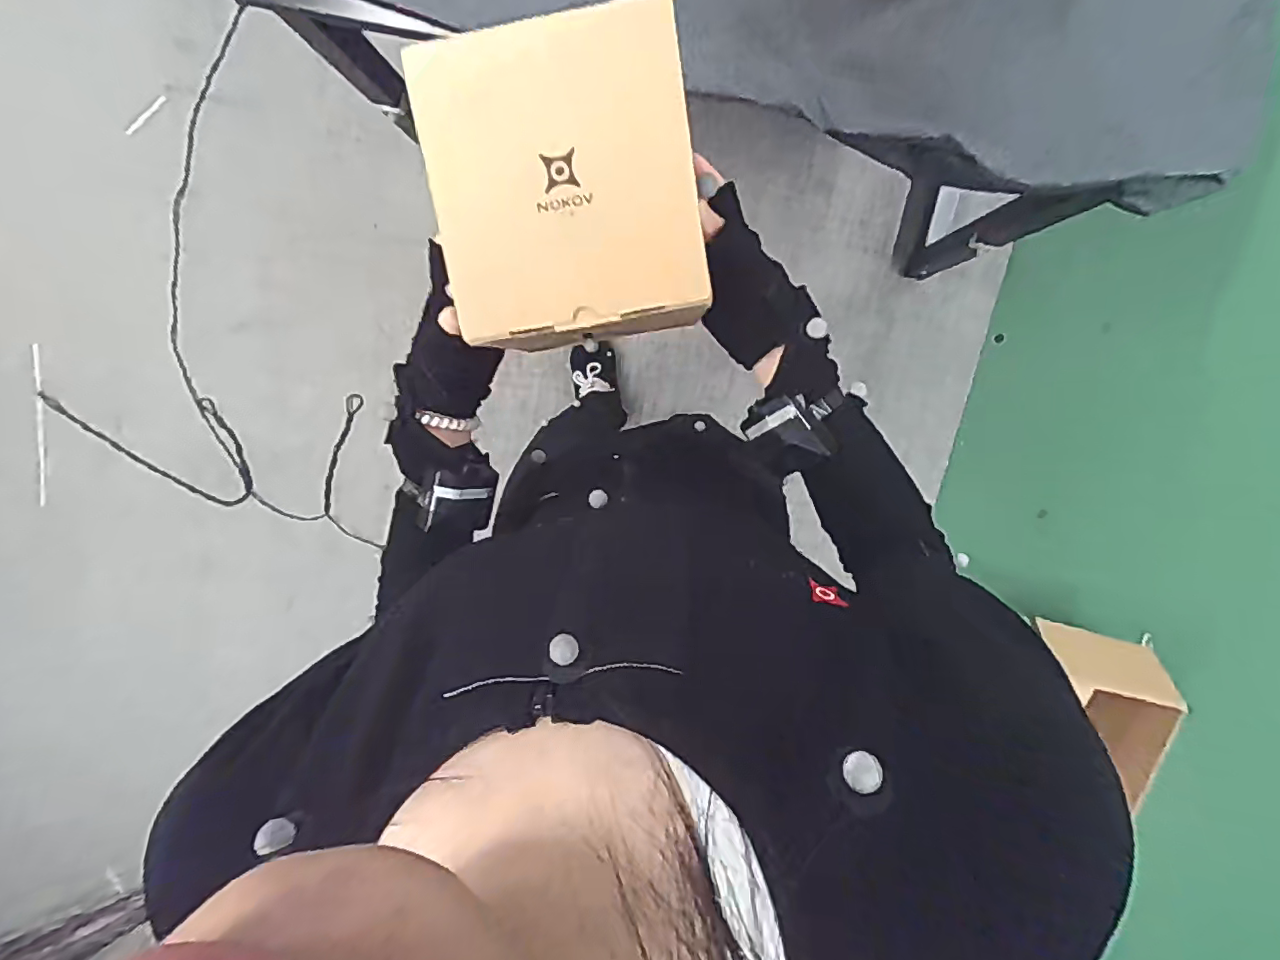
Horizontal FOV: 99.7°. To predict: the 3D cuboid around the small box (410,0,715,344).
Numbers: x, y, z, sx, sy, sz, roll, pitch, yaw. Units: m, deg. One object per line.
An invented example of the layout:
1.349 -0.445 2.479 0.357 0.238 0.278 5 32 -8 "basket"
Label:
-0.044 -0.205 0.410 0.168 0.176 0.179 -9 102 3 "small box"
